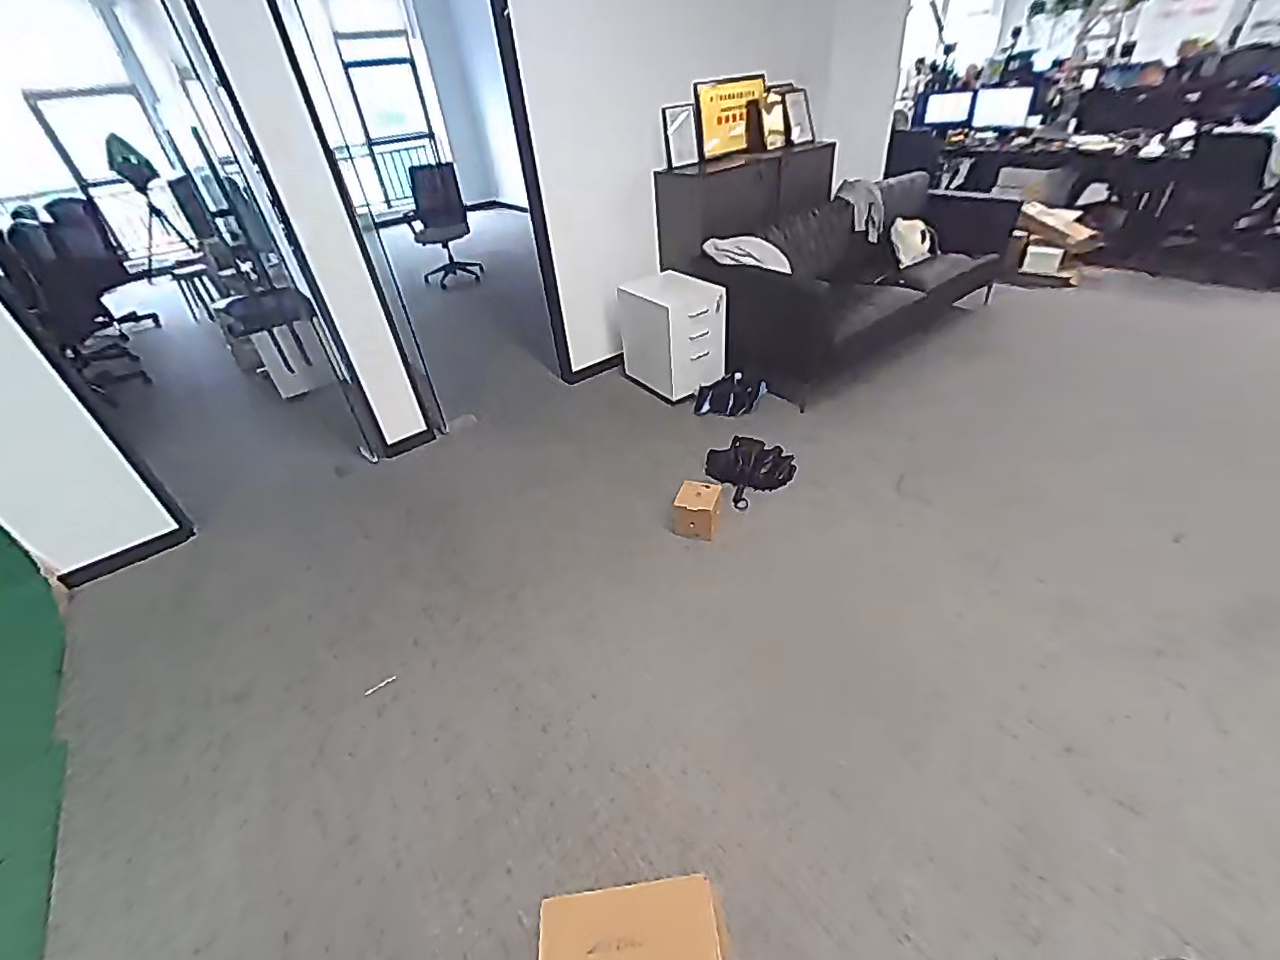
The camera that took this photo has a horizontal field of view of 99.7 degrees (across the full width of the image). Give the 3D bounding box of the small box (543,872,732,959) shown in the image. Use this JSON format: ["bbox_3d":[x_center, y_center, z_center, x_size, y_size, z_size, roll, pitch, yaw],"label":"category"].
[{"bbox_3d":[0.011,0.510,0.516,0.168,0.176,0.179,-12,41,2],"label":"small box"}]
